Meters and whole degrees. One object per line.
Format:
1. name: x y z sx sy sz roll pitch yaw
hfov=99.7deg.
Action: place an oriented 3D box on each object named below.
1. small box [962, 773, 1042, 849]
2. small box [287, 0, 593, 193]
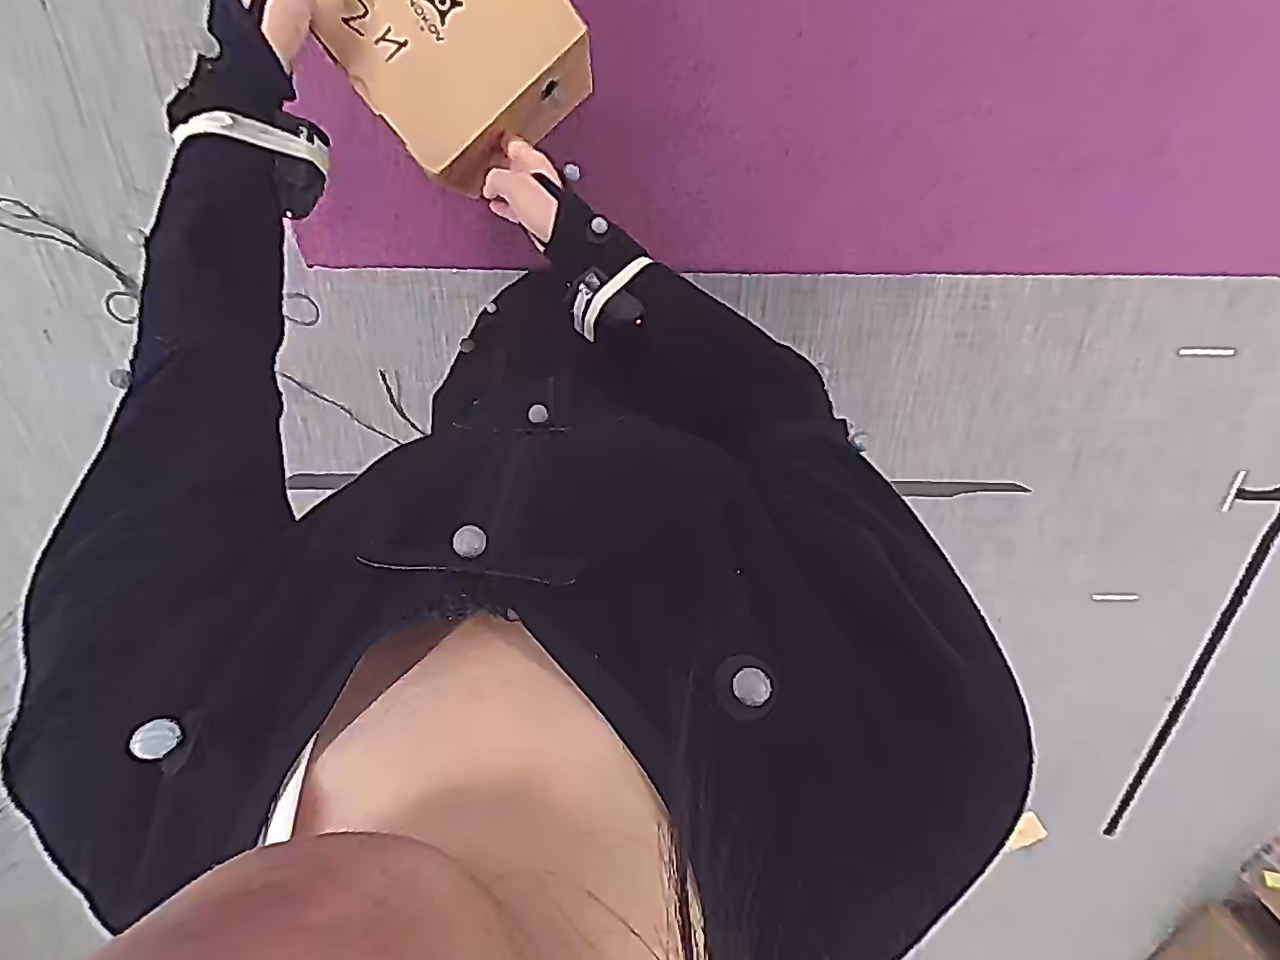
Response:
1. small box: 1.386 1.265 2.079 0.168 0.176 0.179 -35 111 13
2. small box: -0.160 -0.395 0.491 0.179 0.176 0.168 -39 109 12
